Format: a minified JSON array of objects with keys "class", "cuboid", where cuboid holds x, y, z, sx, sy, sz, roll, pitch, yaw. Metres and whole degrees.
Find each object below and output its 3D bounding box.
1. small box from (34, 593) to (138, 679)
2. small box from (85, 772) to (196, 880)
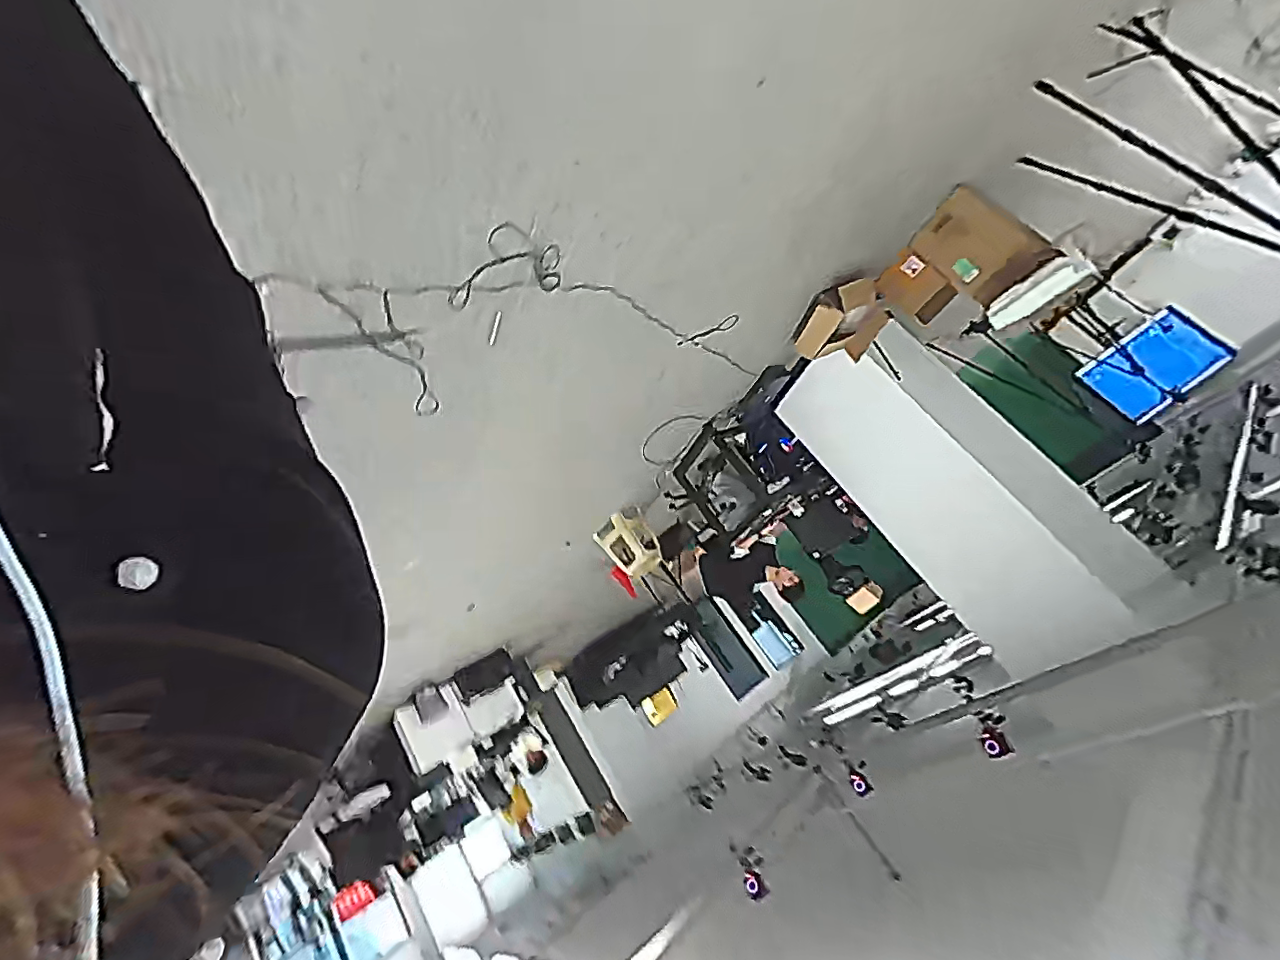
[{"class":"small box","cuboid":[-1.687,0.470,1.650,0.179,0.176,0.168,-19,153,-35]},{"class":"small box","cuboid":[-1.312,0.905,1.424,0.168,0.176,0.179,-20,154,-37]}]
